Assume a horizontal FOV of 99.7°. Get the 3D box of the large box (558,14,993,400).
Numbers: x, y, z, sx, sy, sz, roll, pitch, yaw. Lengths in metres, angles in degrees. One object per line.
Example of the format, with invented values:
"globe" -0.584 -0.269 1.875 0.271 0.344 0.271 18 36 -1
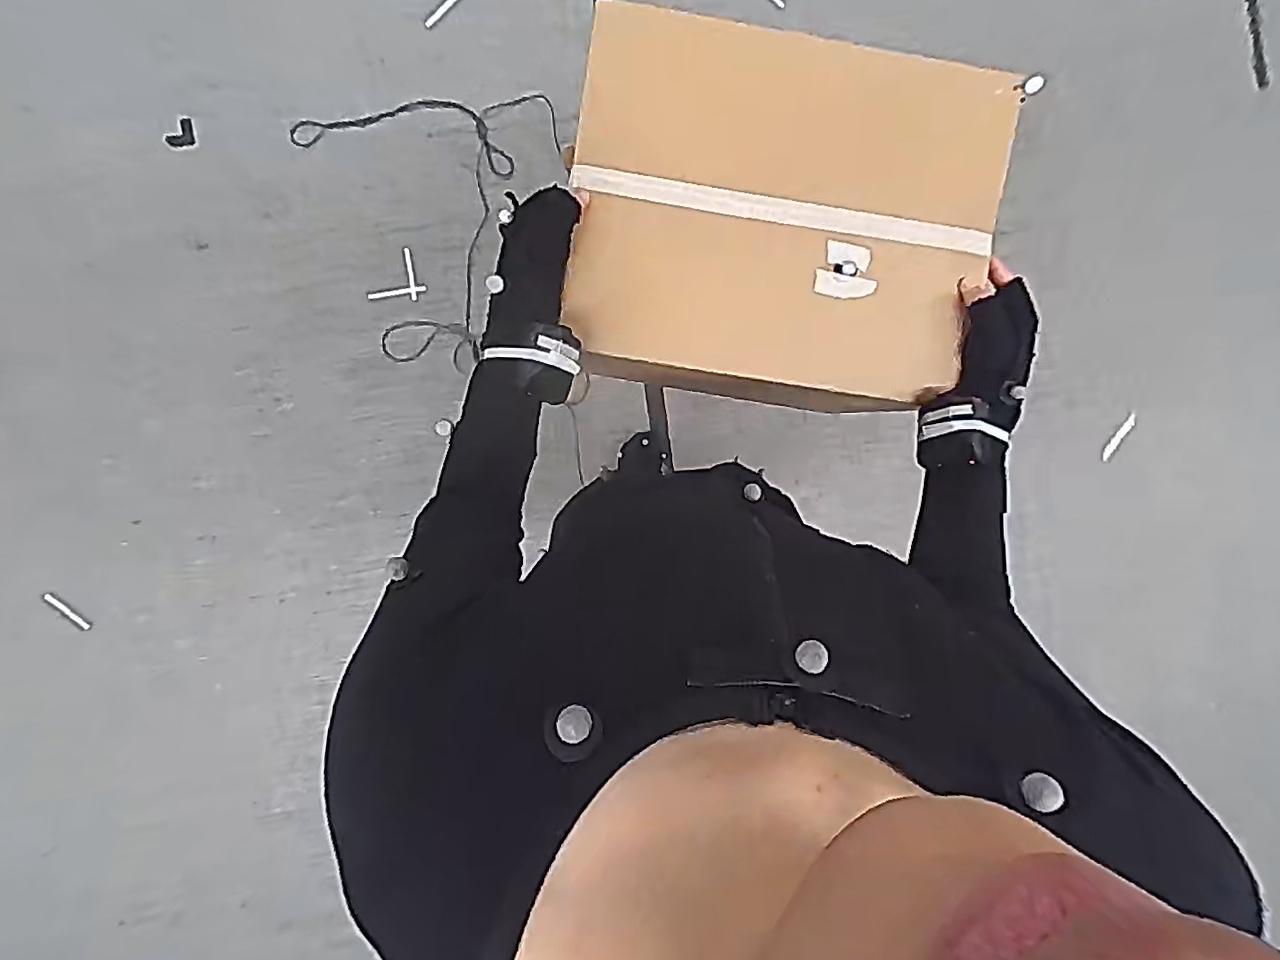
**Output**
"large box" 0.124 -0.283 0.680 0.408 0.320 0.320 8 97 -3
